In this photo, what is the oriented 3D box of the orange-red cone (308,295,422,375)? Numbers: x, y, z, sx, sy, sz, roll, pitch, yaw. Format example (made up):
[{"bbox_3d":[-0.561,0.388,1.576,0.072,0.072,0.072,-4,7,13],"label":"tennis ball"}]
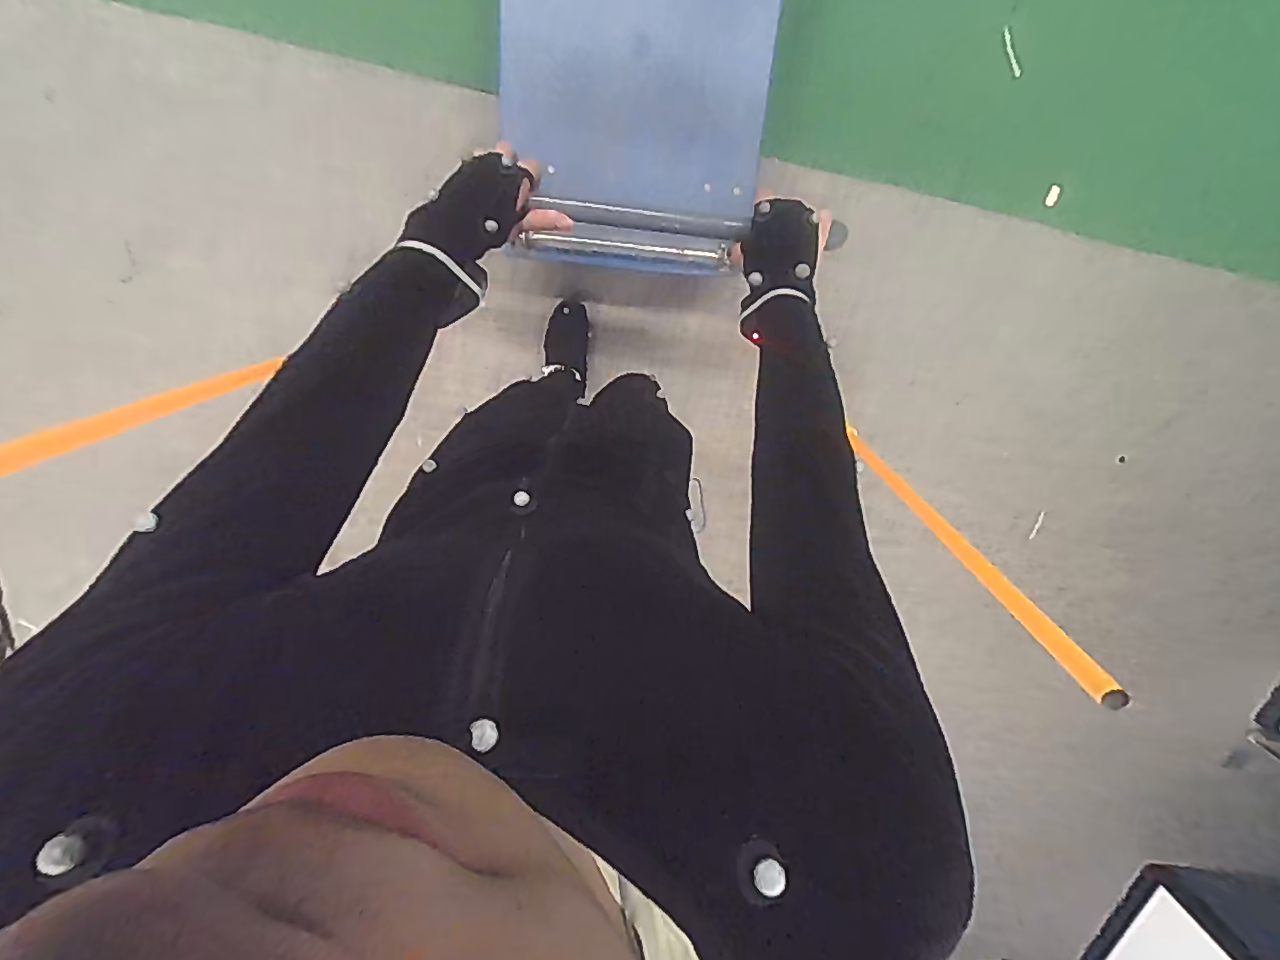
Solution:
[{"bbox_3d":[-0.675,-0.321,1.267,0.199,0.360,0.198,-5,111,-2],"label":"orange-red cone"}]
